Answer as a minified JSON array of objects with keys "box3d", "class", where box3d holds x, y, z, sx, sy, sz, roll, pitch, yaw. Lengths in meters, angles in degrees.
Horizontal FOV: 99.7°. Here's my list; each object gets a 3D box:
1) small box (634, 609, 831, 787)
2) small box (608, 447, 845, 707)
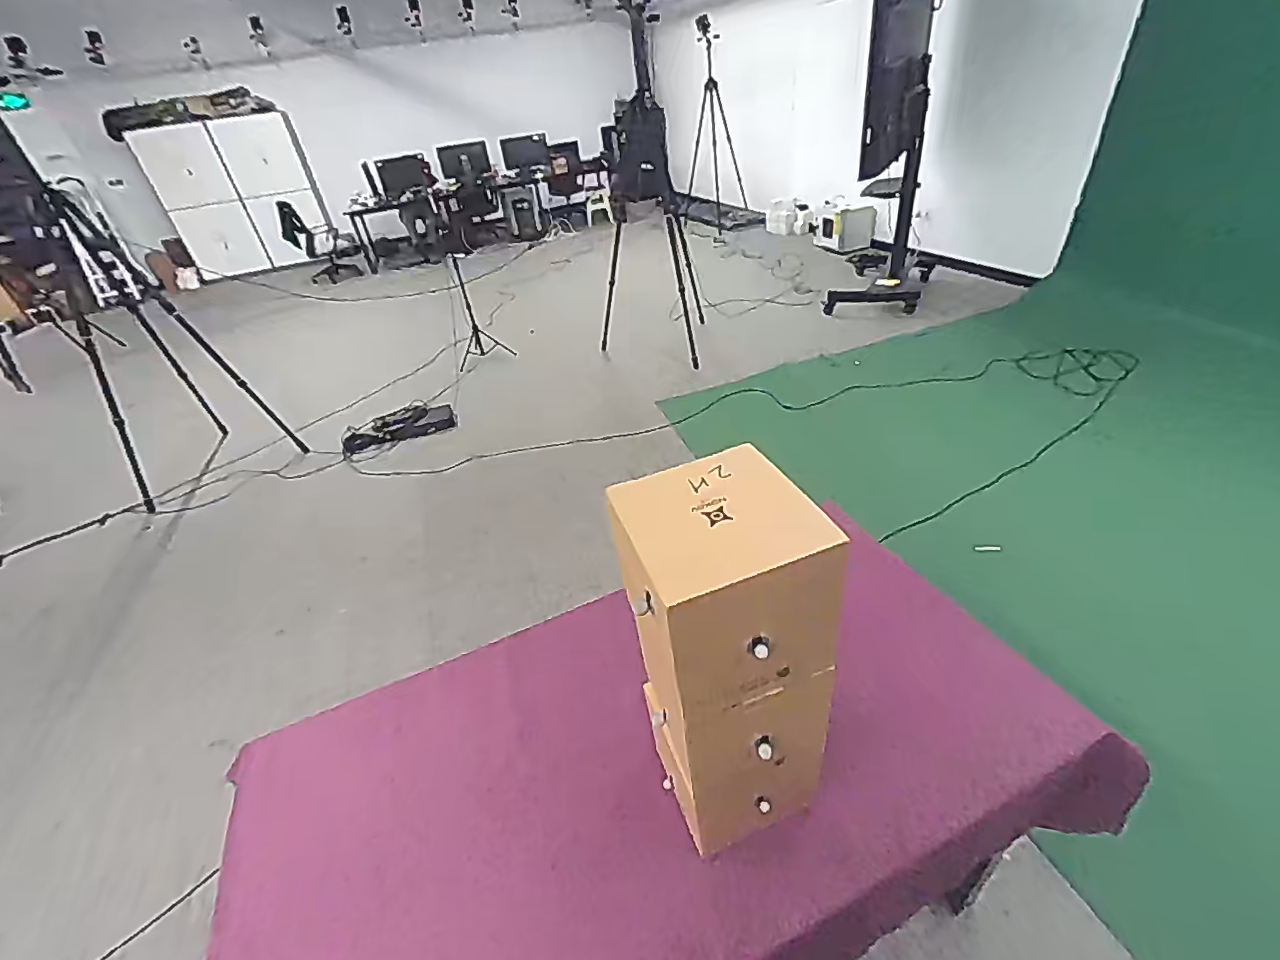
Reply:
[{"box3d":[0.103,0.229,0.639,0.168,0.176,0.179,-16,37,-10],"class":"small box"},{"box3d":[0.080,0.098,0.541,0.168,0.176,0.179,-17,36,-11],"class":"small box"}]
